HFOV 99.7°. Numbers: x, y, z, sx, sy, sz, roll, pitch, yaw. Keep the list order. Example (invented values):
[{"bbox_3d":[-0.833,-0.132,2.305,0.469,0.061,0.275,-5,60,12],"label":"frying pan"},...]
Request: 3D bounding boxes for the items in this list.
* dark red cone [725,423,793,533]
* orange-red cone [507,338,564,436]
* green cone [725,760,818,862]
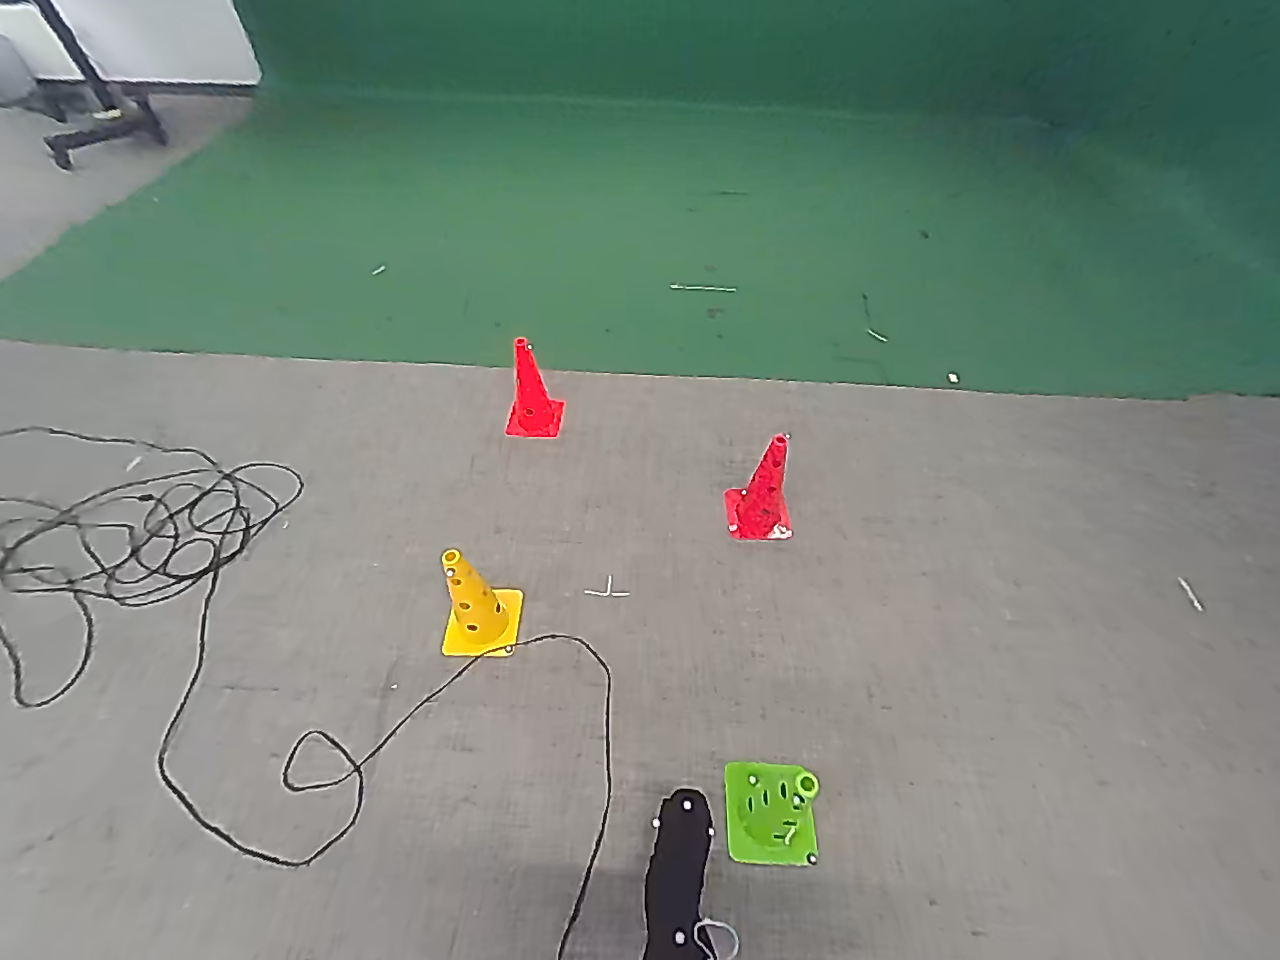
[{"bbox_3d":[0.384,-0.018,1.629,0.202,0.394,0.201,-1,50,-1],"label":"dark red cone"},{"bbox_3d":[-0.395,-0.347,1.915,0.198,0.360,0.199,3,52,3],"label":"orange-red cone"},{"bbox_3d":[0.298,0.653,1.119,0.202,0.368,0.200,1,51,2],"label":"green cone"}]
